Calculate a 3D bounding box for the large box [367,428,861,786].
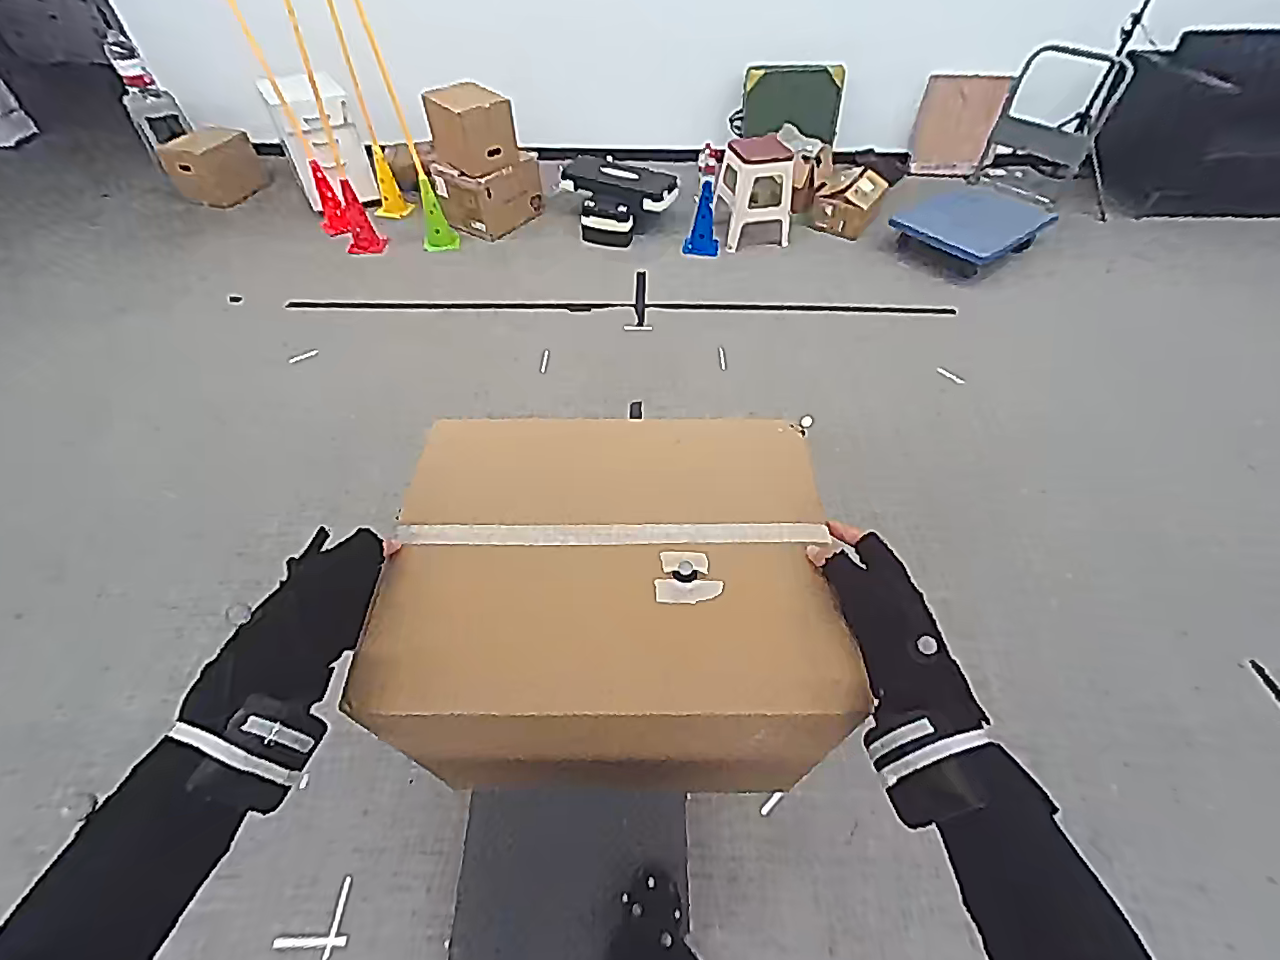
[{"bbox_3d":[-0.023,0.153,0.636,0.408,0.320,0.320,0,51,0],"label":"large box"}]
